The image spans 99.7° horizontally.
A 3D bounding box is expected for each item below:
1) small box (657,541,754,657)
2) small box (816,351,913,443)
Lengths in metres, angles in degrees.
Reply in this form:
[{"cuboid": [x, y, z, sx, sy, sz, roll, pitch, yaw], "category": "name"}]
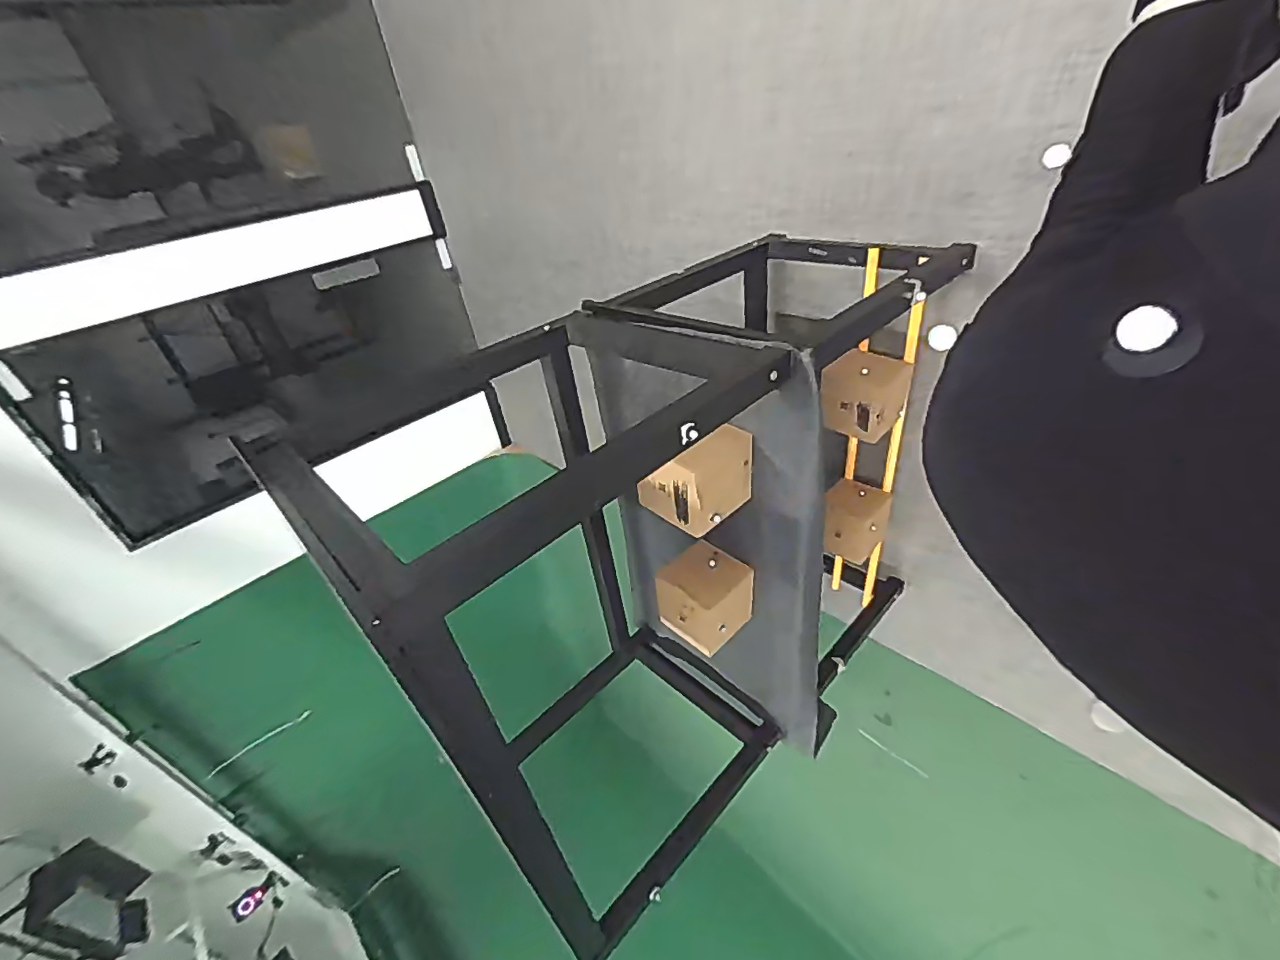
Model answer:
[{"cuboid": [0.163, 0.284, 1.316, 0.168, 0.176, 0.179, 28, 139, 37], "category": "small box"}, {"cuboid": [0.601, -0.229, 1.447, 0.179, 0.176, 0.168, 28, 139, 37], "category": "small box"}]
